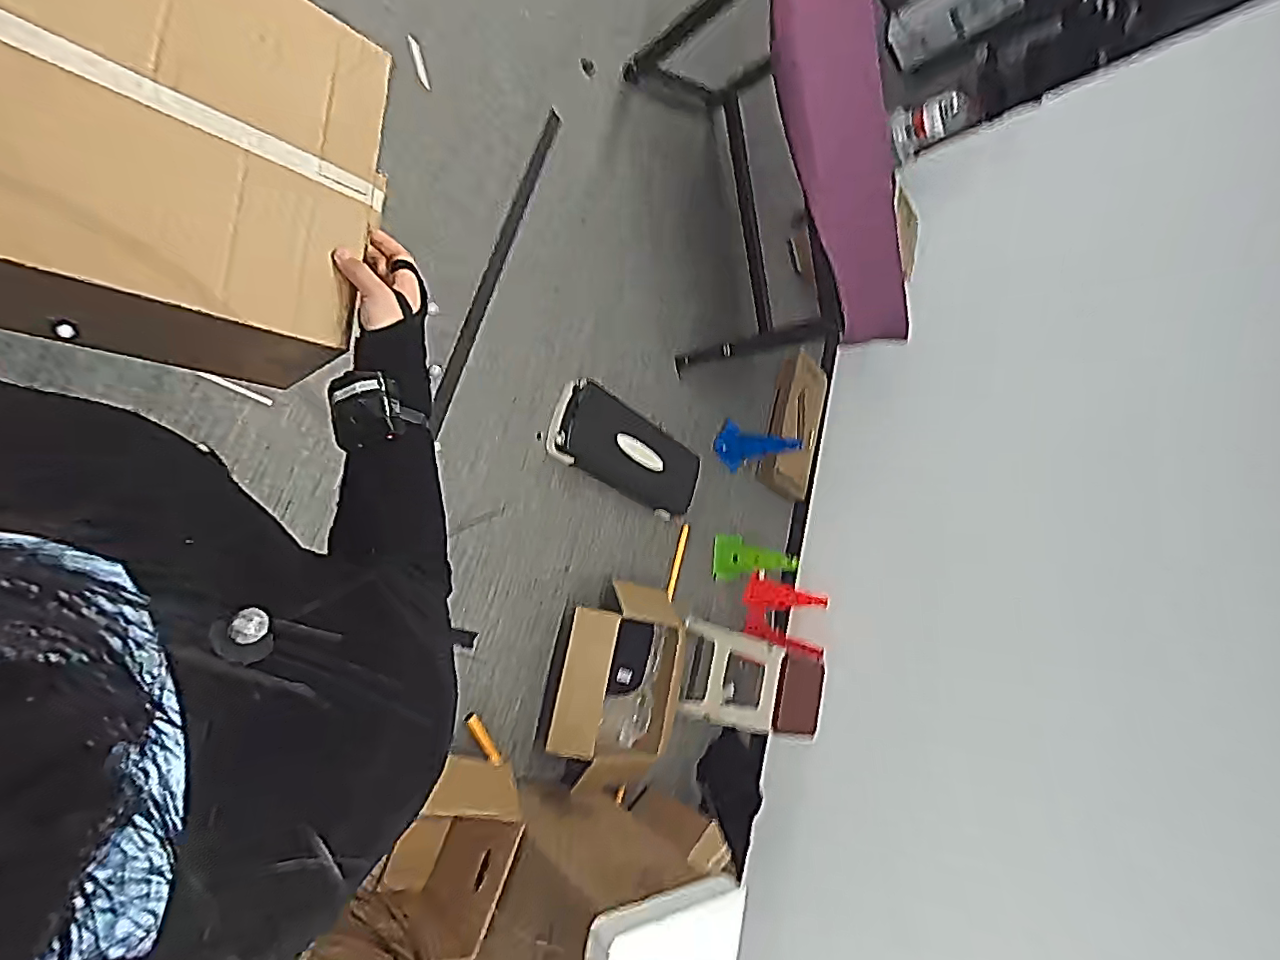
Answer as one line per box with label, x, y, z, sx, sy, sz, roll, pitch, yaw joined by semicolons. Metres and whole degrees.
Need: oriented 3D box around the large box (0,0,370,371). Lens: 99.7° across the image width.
large box;-0.526;-0.313;0.512;0.408;0.320;0.320;9;84;-42
